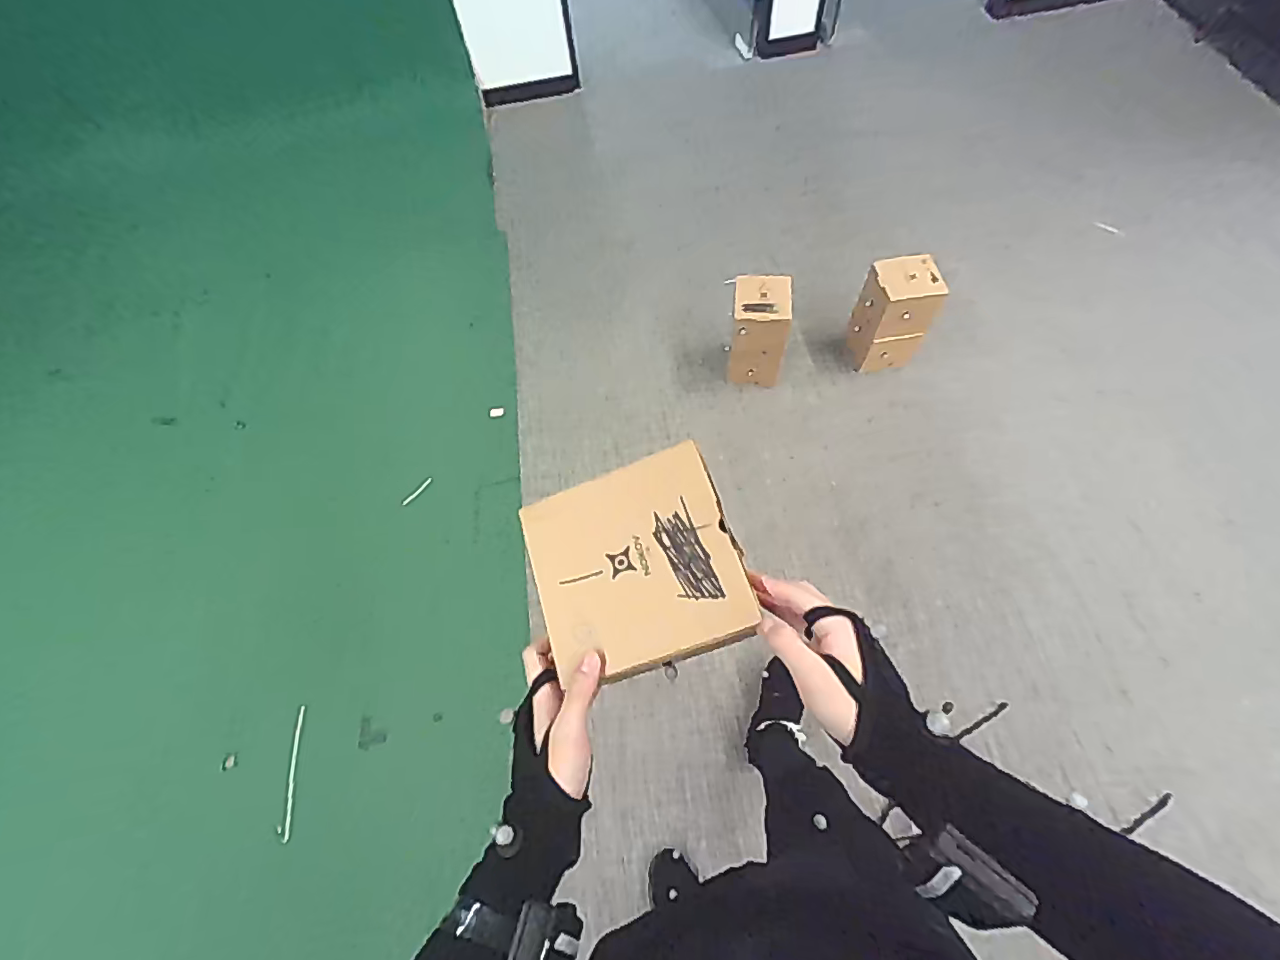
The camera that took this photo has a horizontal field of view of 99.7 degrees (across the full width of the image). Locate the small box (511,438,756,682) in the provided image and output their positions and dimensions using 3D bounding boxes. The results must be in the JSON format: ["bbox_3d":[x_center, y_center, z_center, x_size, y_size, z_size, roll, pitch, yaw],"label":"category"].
[{"bbox_3d":[0.002,0.084,0.516,0.179,0.176,0.168,-18,69,7],"label":"small box"}]

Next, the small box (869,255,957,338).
[{"bbox_3d":[0.815,-0.550,1.639,0.179,0.176,0.168,-6,64,2],"label":"small box"}]

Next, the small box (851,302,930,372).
[{"bbox_3d":[0.819,-0.474,1.785,0.168,0.176,0.179,-8,64,0],"label":"small box"}]

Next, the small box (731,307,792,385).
[{"bbox_3d":[0.398,-0.440,1.793,0.168,0.176,0.179,11,65,8],"label":"small box"}]
